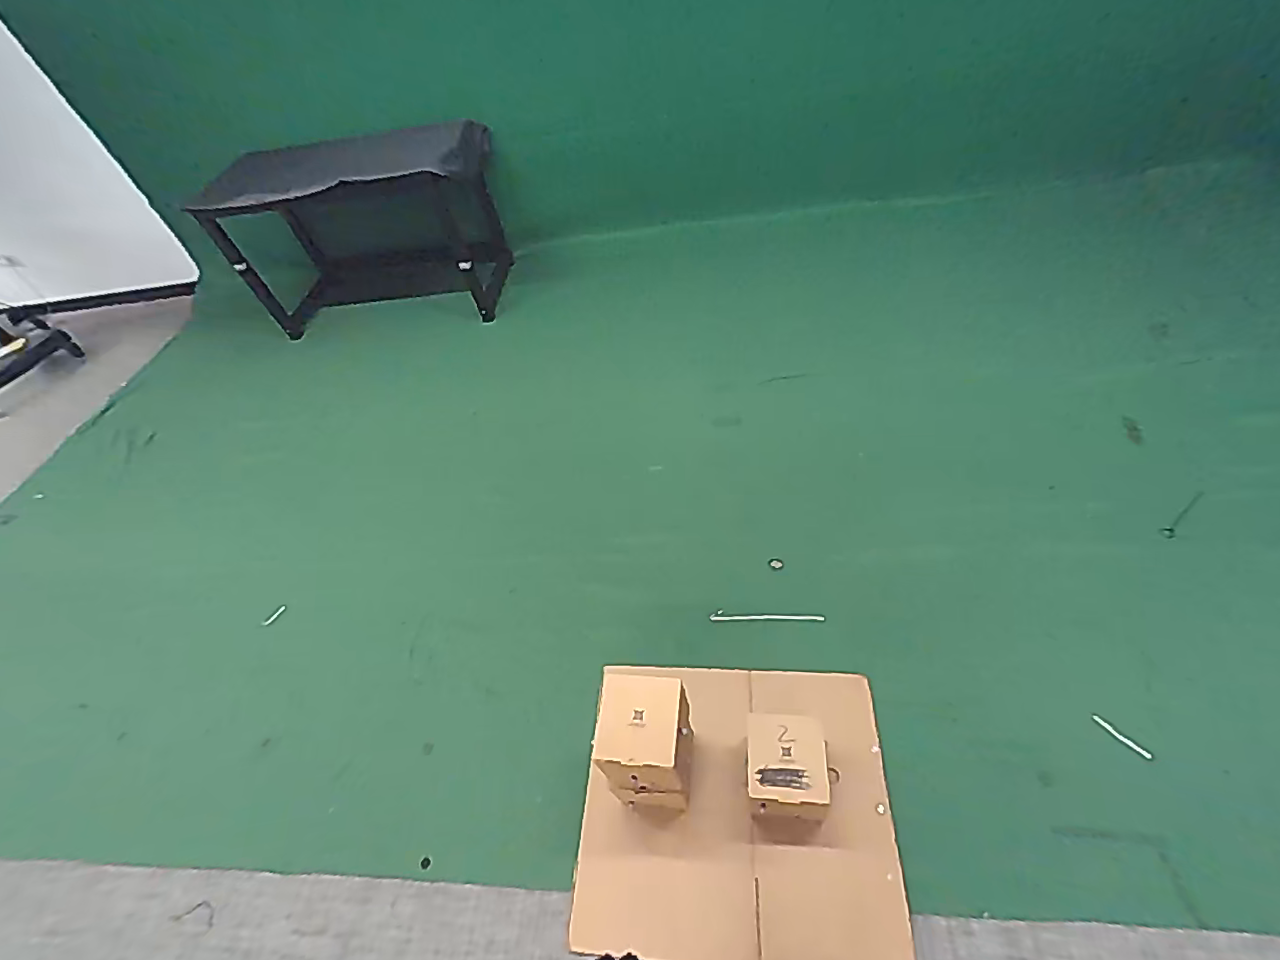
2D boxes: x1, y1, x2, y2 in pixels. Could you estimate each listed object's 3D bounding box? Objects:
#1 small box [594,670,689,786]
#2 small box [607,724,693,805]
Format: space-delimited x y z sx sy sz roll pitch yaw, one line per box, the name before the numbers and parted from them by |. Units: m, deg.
small box | 0.012 0.530 1.154 0.168 0.176 0.179 0 50 12
small box | 0.032 0.644 1.268 0.168 0.176 0.179 -1 48 12
